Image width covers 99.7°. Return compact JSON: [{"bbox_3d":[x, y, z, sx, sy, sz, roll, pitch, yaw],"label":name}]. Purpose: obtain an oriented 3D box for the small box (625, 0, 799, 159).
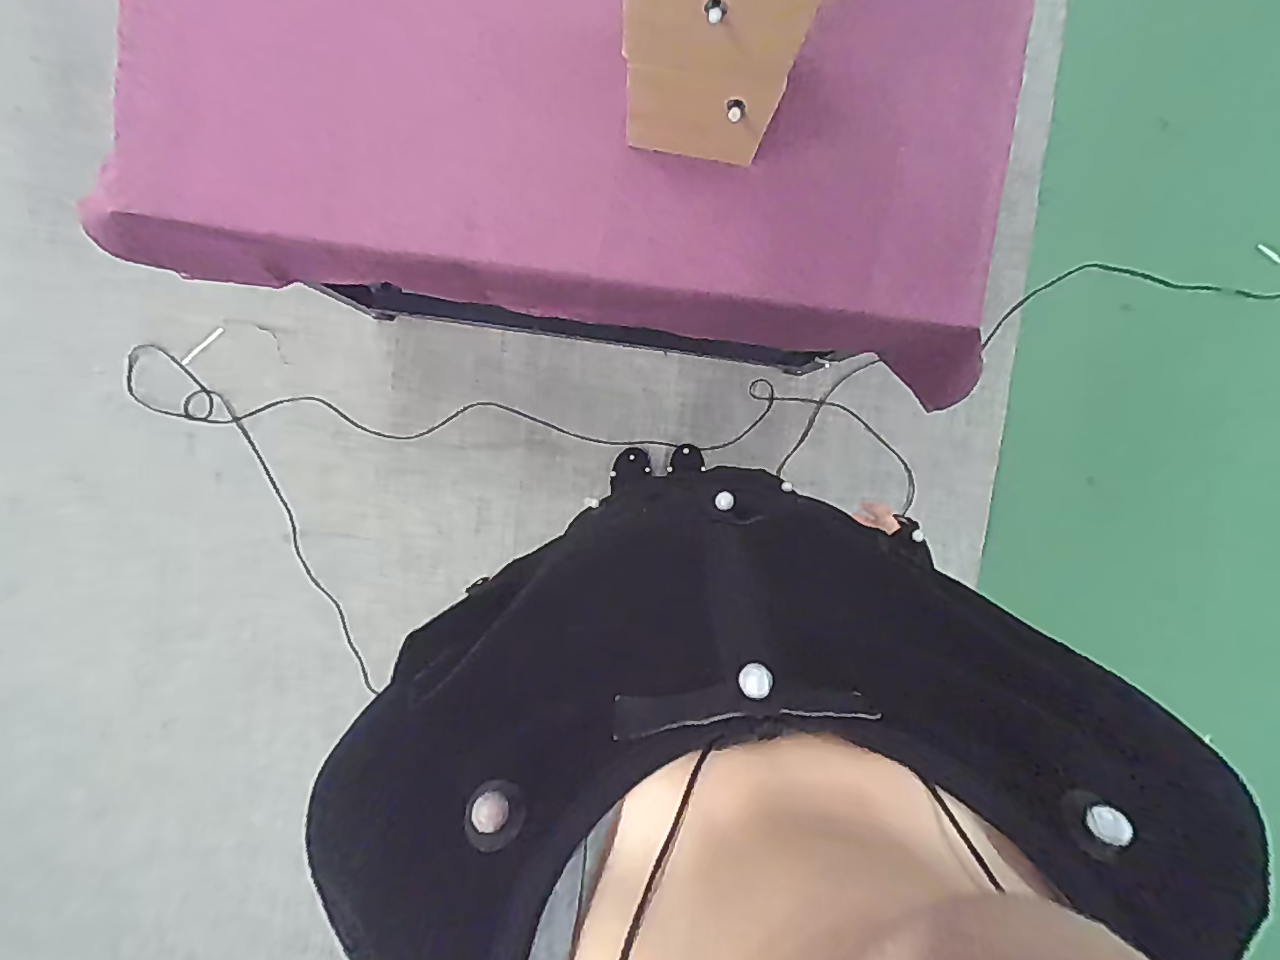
[{"bbox_3d":[0.080,-0.523,0.656,0.179,0.176,0.168,8,94,-3],"label":"small box"}]
